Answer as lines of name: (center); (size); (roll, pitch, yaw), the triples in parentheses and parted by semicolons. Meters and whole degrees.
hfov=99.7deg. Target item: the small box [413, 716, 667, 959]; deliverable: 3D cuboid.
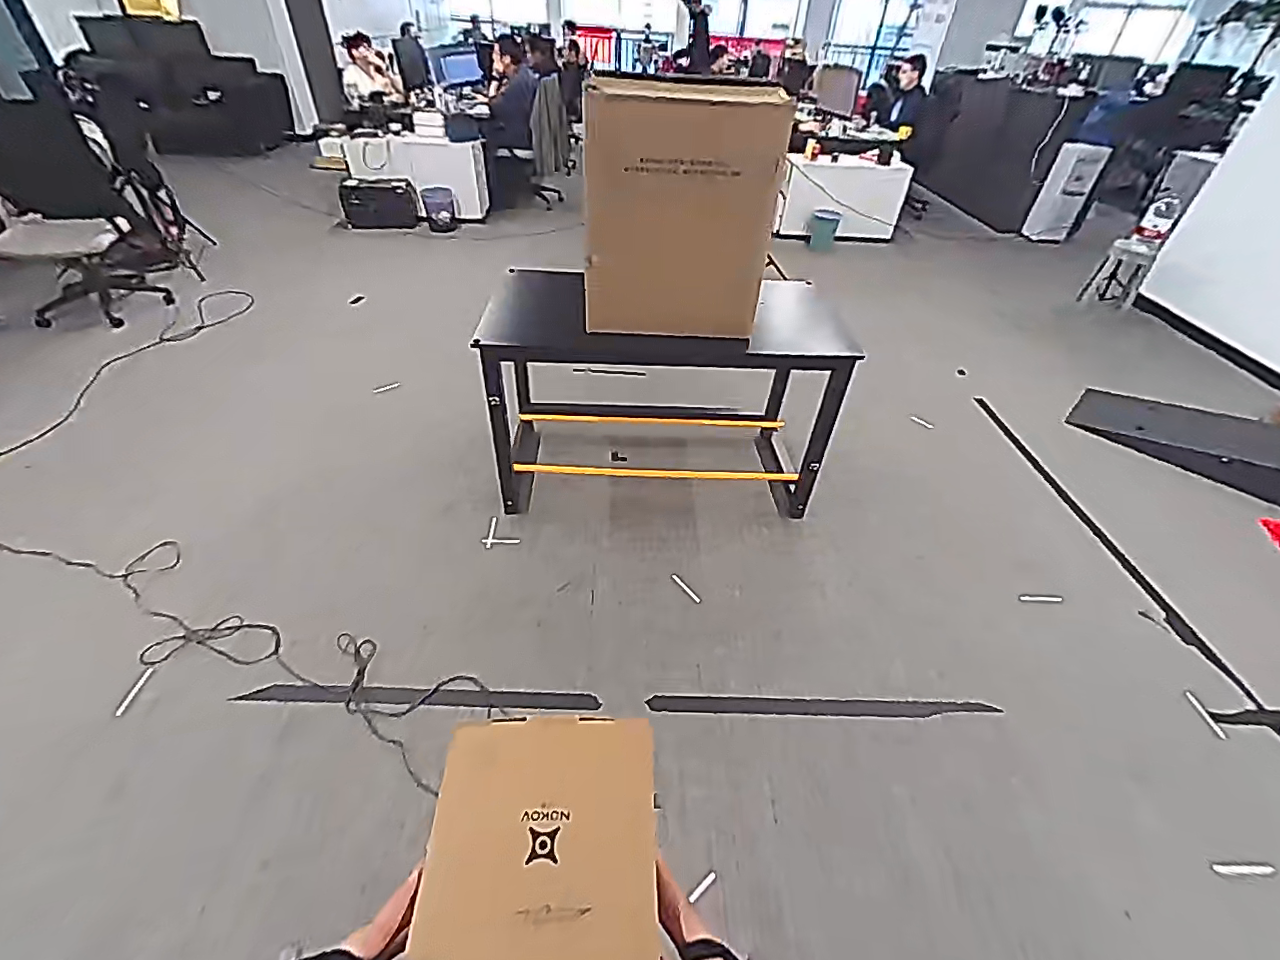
small box: (-0.069, 0.319, 0.451); (0.168, 0.176, 0.179); (0, 44, -2)
